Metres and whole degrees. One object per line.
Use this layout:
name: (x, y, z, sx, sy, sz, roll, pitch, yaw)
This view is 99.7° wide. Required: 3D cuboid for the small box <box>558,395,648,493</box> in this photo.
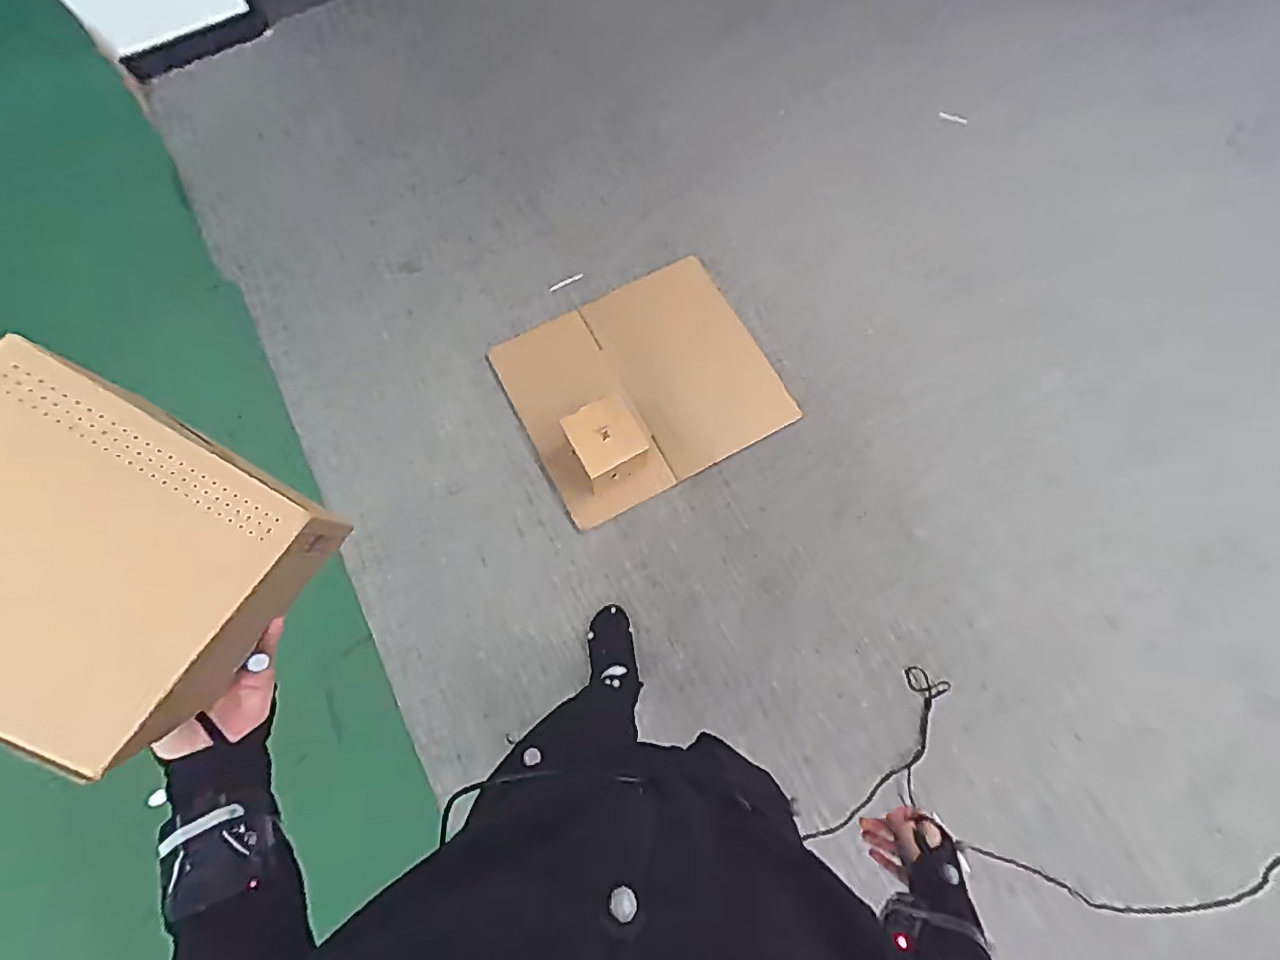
small box: (-0.088, -0.081, 1.387, 0.168, 0.176, 0.179, -29, 75, -8)
